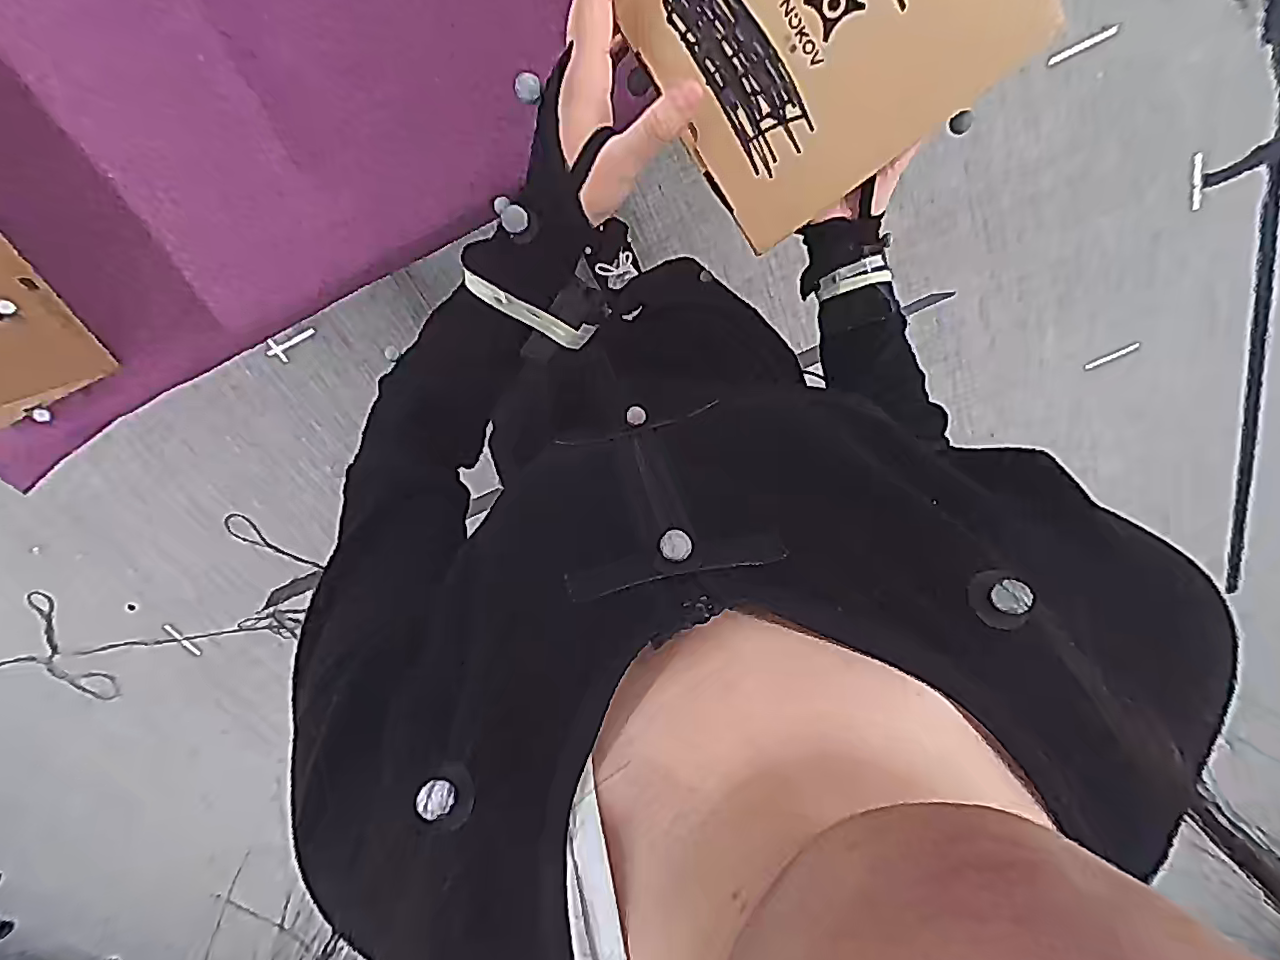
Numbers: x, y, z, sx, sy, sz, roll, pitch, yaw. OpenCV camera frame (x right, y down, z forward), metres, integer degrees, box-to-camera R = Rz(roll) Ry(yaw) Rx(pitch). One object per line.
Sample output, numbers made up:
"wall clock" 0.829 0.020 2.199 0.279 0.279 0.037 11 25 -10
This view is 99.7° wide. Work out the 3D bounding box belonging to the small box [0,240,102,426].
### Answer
"small box" -0.707 -0.130 0.534 0.179 0.176 0.168 -24 116 5
